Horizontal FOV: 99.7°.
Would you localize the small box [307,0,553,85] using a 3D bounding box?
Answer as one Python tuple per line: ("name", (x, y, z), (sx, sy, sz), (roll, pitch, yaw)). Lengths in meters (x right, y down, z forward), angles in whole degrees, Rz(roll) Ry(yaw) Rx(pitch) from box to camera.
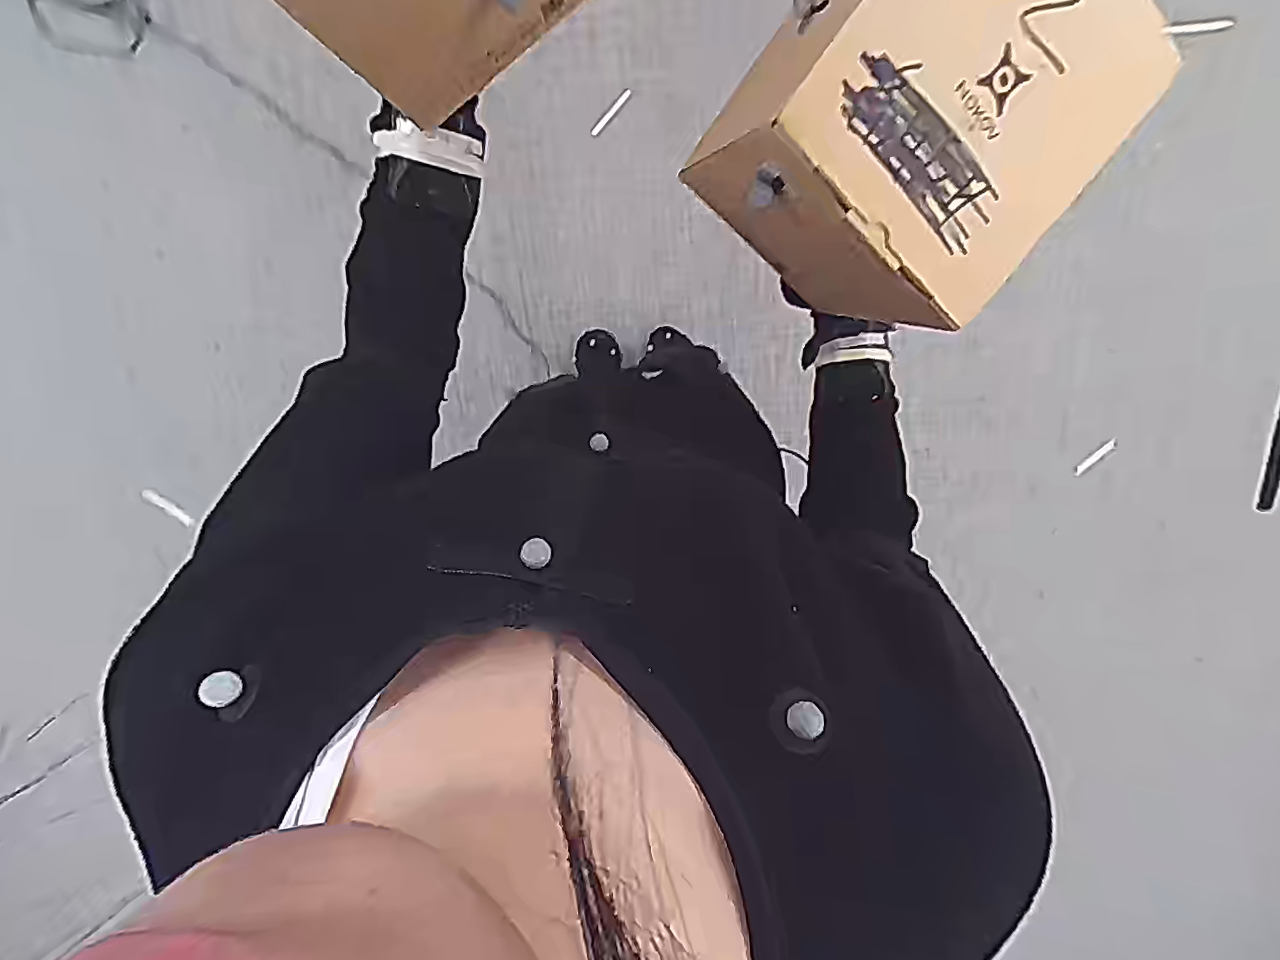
("small box", (-0.111, -0.312, 0.225), (0.168, 0.176, 0.179), (-34, 103, 10))
